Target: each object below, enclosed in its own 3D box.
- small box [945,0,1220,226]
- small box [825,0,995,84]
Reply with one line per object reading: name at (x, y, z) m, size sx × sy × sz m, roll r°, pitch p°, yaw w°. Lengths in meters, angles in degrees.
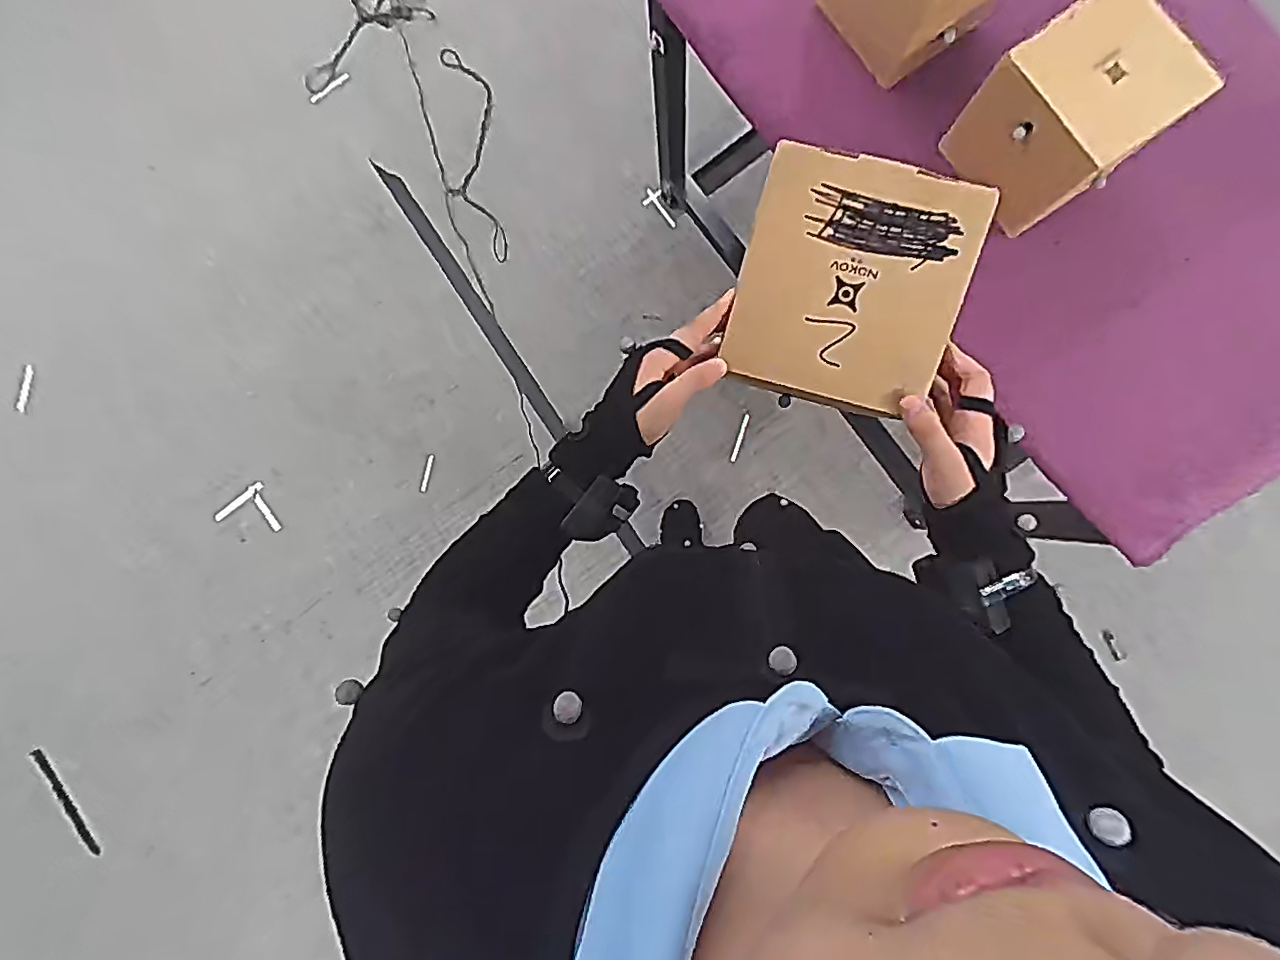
small box at (0.543, -0.460, 0.694) m, size 0.168 × 0.176 × 0.179 m, roll -35°, pitch 86°, yaw 1°
small box at (0.375, -0.689, 0.714) m, size 0.168 × 0.176 × 0.179 m, roll -35°, pitch 86°, yaw 2°
